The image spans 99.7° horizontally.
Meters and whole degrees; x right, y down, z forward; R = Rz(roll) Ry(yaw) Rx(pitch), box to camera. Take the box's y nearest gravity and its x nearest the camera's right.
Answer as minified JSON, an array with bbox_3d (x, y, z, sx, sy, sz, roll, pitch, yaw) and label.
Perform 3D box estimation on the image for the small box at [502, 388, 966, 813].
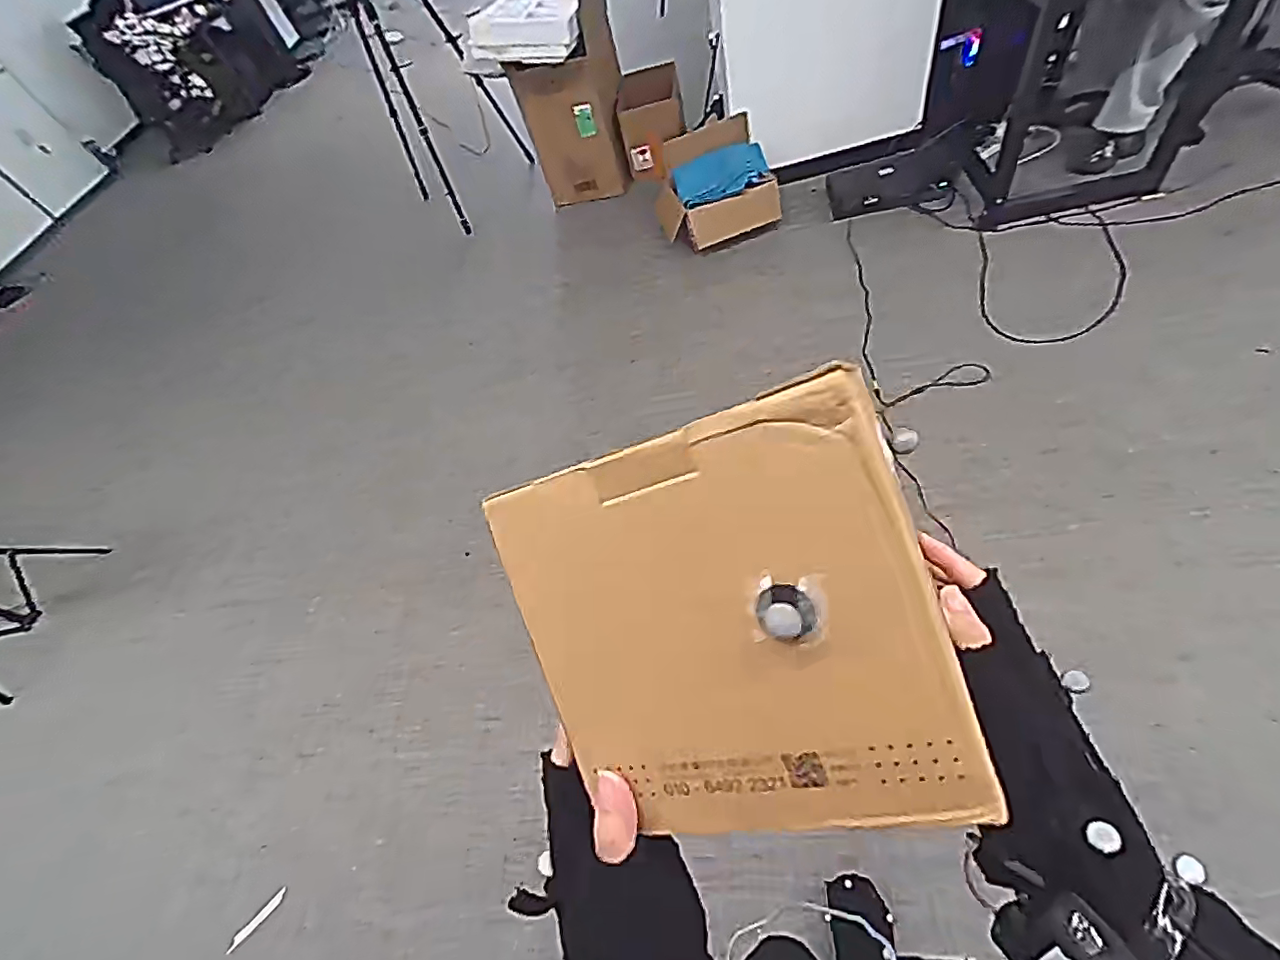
[{"bbox_3d":[0.061,0.059,0.307,0.168,0.179,0.176,-19,92,24],"label":"small box"}]
